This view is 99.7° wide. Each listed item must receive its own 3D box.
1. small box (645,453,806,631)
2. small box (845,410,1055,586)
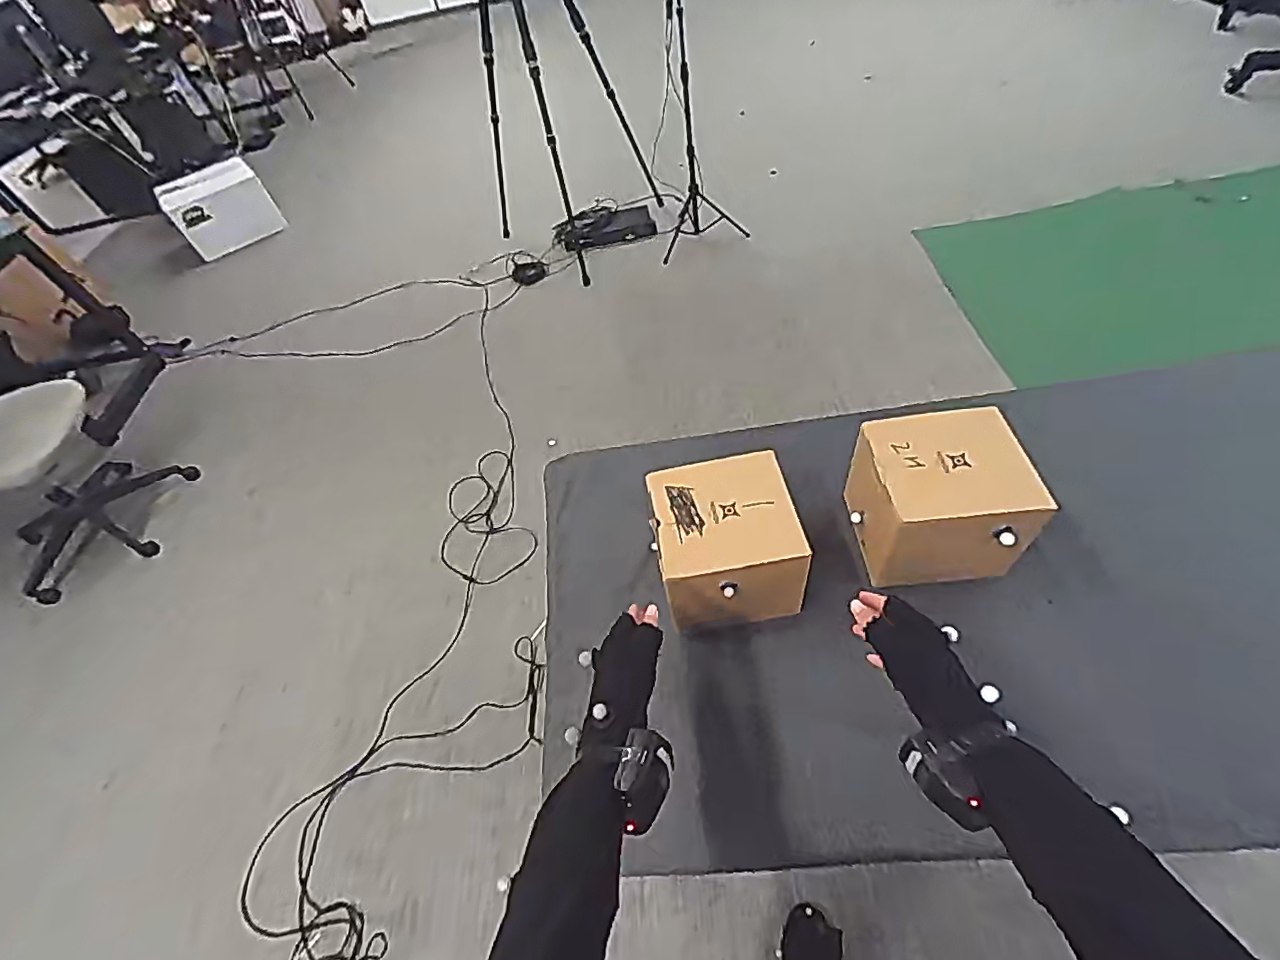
[{"bbox_3d":[0.113,0.091,0.737,0.179,0.176,0.168,-10,52,2],"label":"small box"},{"bbox_3d":[0.393,0.029,0.726,0.179,0.176,0.168,-6,51,6],"label":"small box"}]
